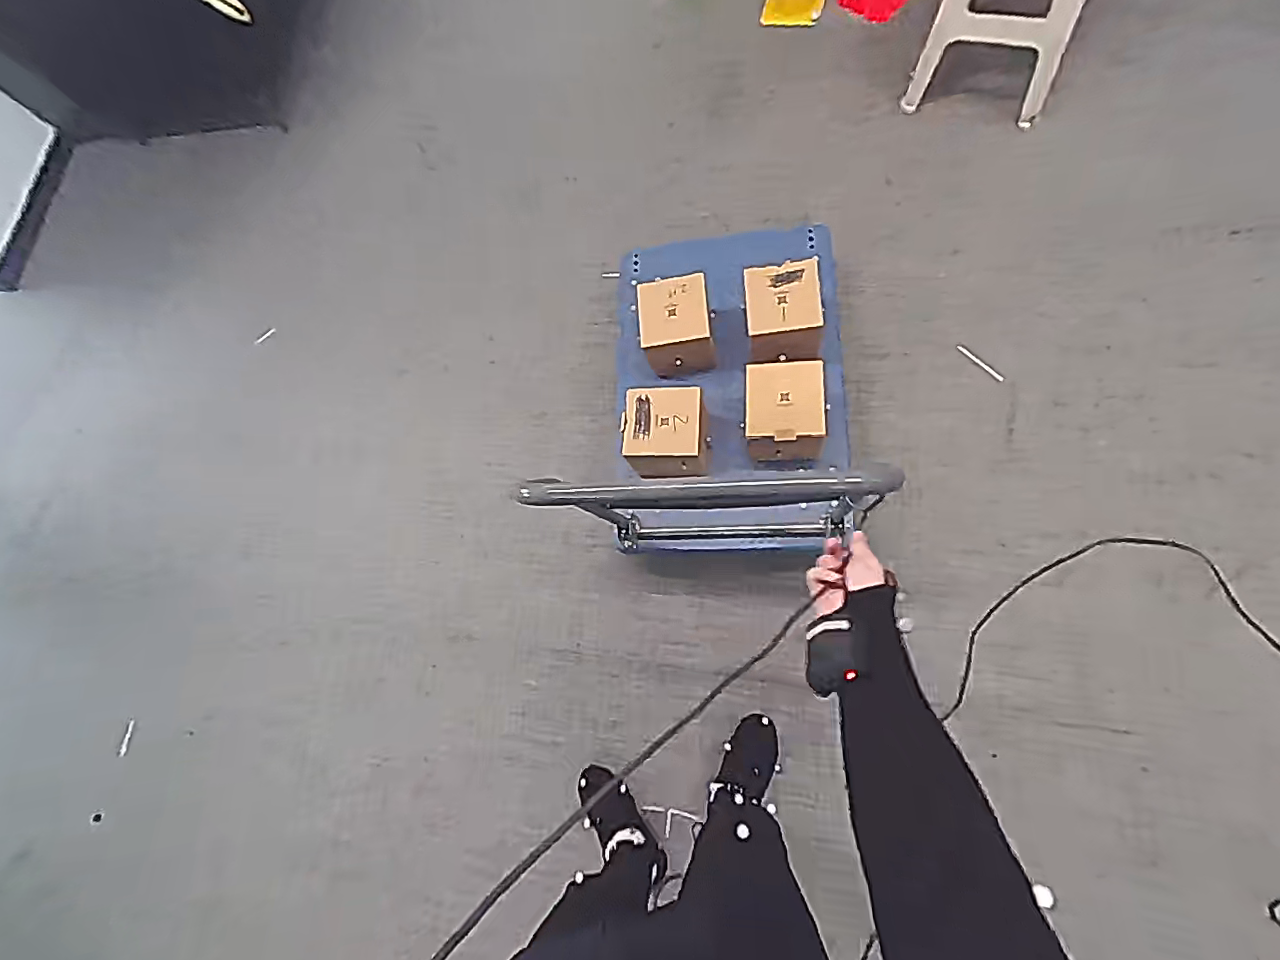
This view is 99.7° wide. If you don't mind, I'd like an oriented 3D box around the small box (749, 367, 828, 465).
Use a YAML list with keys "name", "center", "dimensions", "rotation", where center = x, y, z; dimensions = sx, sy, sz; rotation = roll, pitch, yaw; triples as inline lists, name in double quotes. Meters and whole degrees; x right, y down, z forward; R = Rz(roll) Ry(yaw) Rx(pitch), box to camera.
- name: "small box"
  center: [0.337, -0.142, 1.242]
  dimensions: [0.168, 0.176, 0.179]
  rotation: [-1, 76, 14]

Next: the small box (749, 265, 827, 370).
- name: "small box"
  center: [0.351, -0.383, 1.304]
  dimensions: [0.168, 0.176, 0.179]
  rotation: [-5, 75, 14]
